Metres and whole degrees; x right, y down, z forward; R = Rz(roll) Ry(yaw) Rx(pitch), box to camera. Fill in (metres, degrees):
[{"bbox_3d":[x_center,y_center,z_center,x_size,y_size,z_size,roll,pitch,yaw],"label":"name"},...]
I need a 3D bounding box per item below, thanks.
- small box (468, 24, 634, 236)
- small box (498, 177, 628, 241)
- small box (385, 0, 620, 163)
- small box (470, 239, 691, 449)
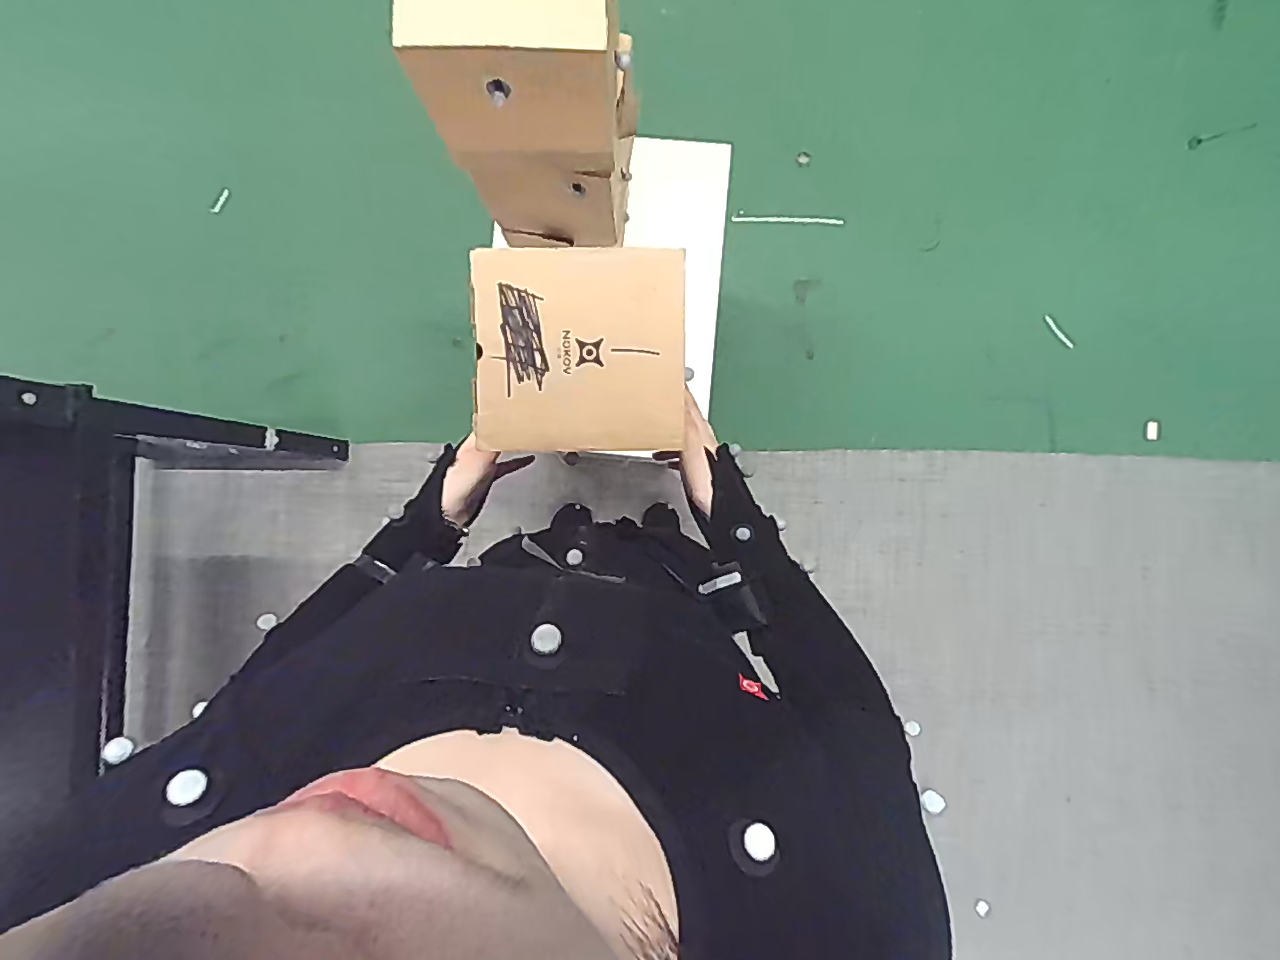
[{"bbox_3d":[-0.106,-0.427,0.670,0.179,0.176,0.168,8,89,0],"label":"small box"},{"bbox_3d":[-0.109,-0.428,0.833,0.168,0.176,0.179,6,90,0],"label":"small box"},{"bbox_3d":[-0.112,-0.425,0.506,0.179,0.176,0.168,1,90,0],"label":"small box"},{"bbox_3d":[-0.047,-0.113,0.508,0.179,0.176,0.168,0,95,0],"label":"small box"}]
